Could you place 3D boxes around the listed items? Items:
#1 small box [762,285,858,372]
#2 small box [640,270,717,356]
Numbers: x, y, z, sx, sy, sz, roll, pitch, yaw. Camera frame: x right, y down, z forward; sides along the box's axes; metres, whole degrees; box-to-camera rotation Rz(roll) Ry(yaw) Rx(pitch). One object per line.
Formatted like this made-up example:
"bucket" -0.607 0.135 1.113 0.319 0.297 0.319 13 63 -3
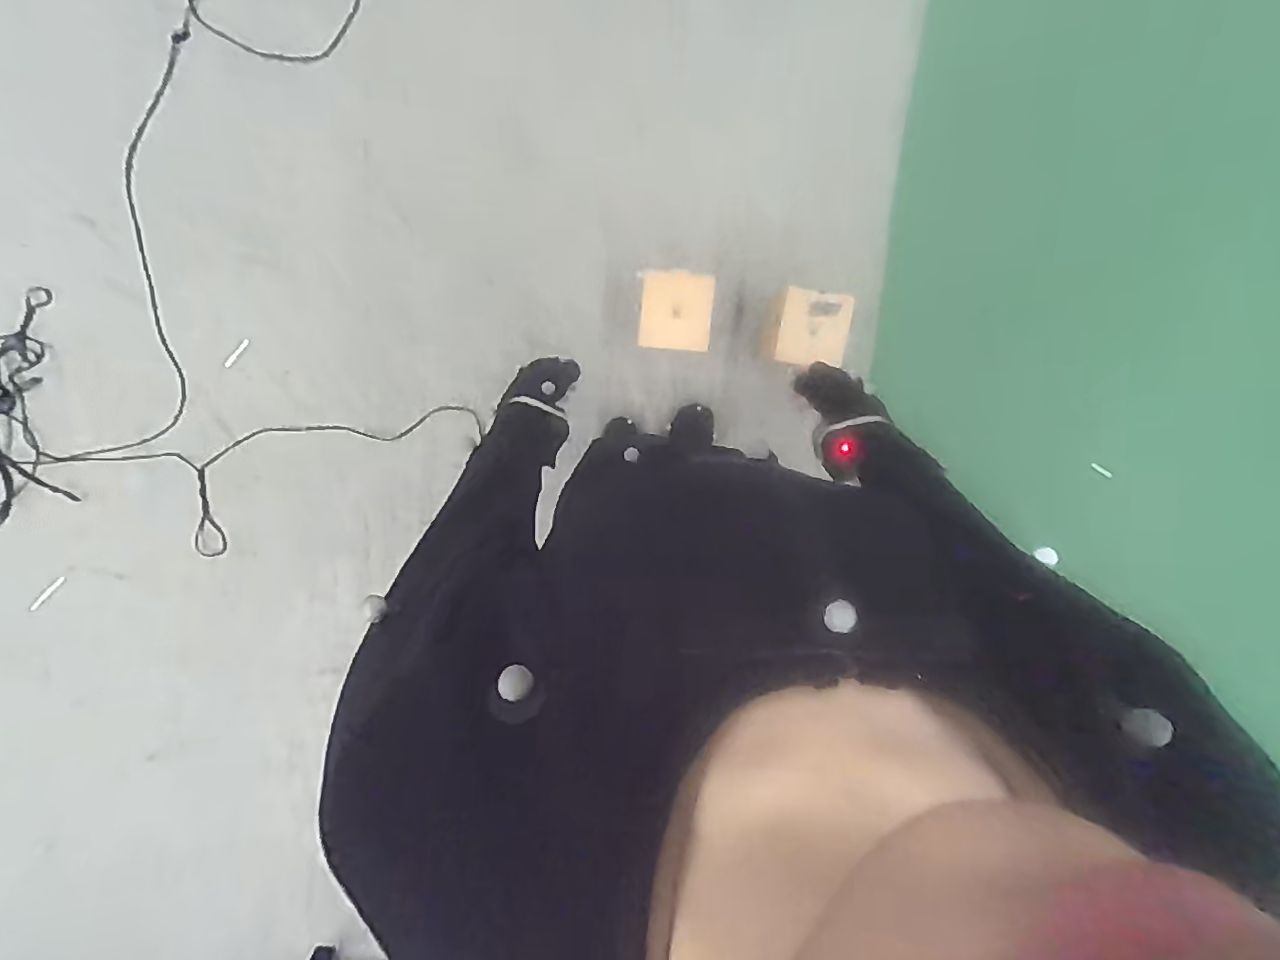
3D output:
"small box" 0.412 -0.368 1.341 0.168 0.176 0.179 8 100 -2
"small box" 0.088 -0.402 1.329 0.168 0.176 0.179 4 99 -2
